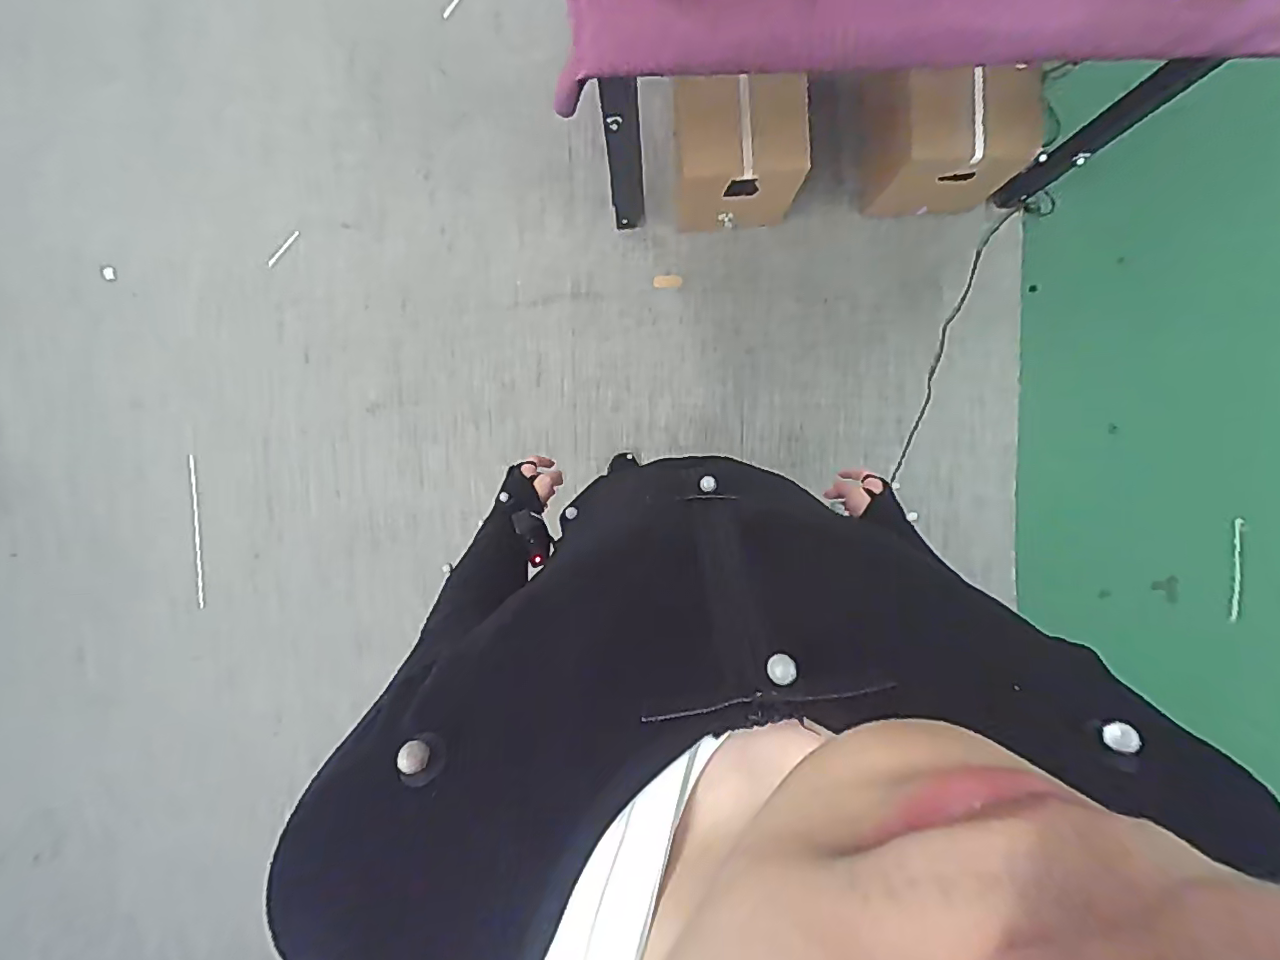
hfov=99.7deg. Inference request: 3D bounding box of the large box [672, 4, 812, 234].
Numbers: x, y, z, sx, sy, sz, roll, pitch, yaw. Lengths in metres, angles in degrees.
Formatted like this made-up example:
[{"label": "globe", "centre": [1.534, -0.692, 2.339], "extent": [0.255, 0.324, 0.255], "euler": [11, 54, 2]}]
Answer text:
[{"label": "large box", "centre": [0.253, -0.936, 1.453], "extent": [0.320, 0.320, 0.408], "euler": [-4, 91, 1]}]
